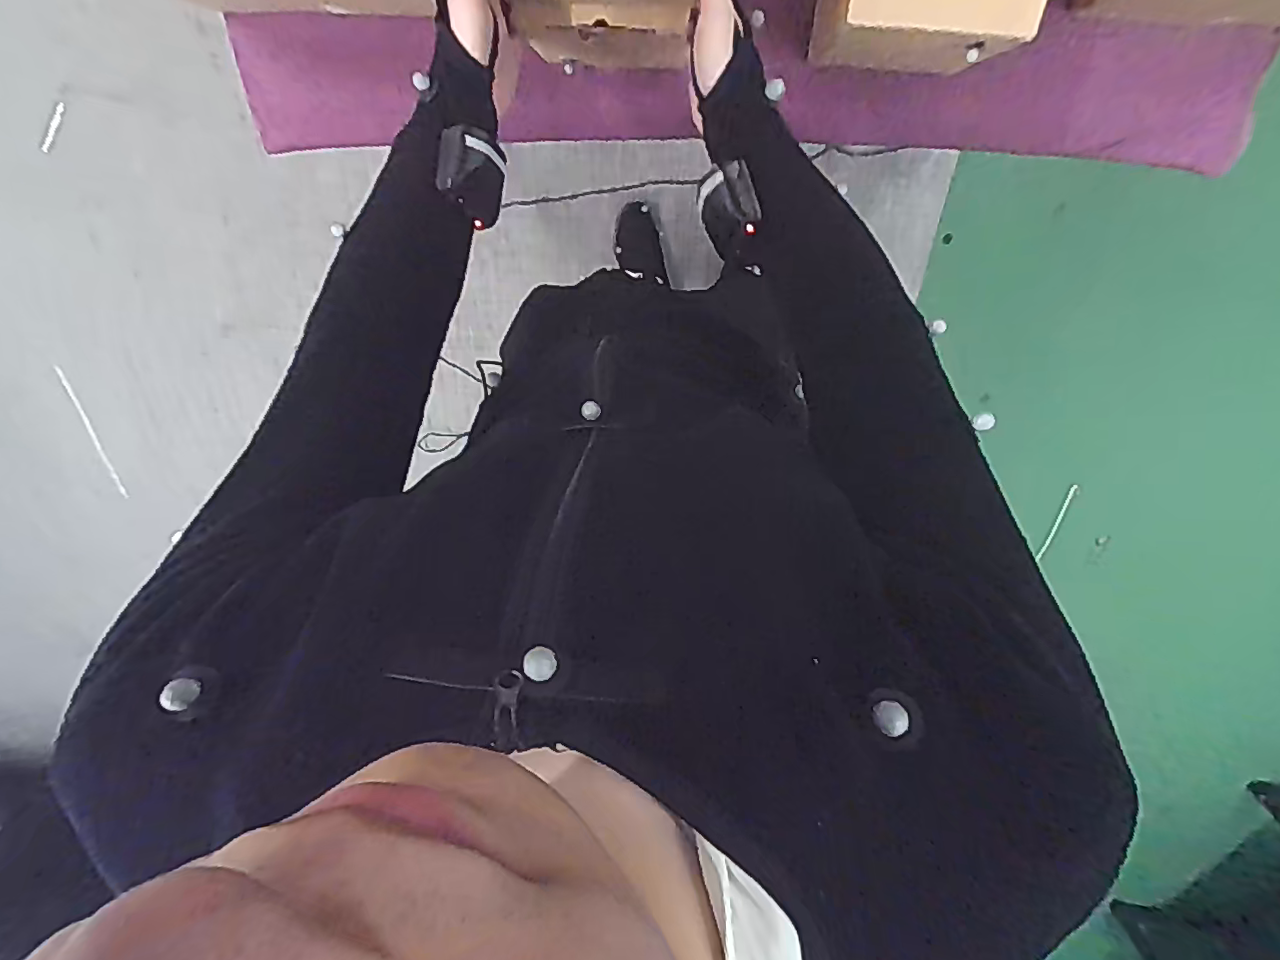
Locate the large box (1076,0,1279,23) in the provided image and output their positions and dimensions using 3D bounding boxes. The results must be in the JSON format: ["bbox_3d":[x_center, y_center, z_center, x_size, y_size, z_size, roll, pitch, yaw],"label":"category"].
[{"bbox_3d":[0.630,-0.608,0.373,0.320,0.320,0.408,4,120,2],"label":"large box"}]

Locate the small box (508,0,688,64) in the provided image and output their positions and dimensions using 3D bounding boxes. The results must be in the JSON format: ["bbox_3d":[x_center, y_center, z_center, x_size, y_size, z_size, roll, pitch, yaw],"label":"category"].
[{"bbox_3d":[-0.032,-0.527,0.525,0.168,0.176,0.179,2,118,1],"label":"small box"}]

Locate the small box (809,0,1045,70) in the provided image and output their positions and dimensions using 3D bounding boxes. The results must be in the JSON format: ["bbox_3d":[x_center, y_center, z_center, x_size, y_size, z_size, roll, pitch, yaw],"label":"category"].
[{"bbox_3d":[0.277,-0.515,0.521,0.179,0.176,0.168,4,118,0],"label":"small box"}]
